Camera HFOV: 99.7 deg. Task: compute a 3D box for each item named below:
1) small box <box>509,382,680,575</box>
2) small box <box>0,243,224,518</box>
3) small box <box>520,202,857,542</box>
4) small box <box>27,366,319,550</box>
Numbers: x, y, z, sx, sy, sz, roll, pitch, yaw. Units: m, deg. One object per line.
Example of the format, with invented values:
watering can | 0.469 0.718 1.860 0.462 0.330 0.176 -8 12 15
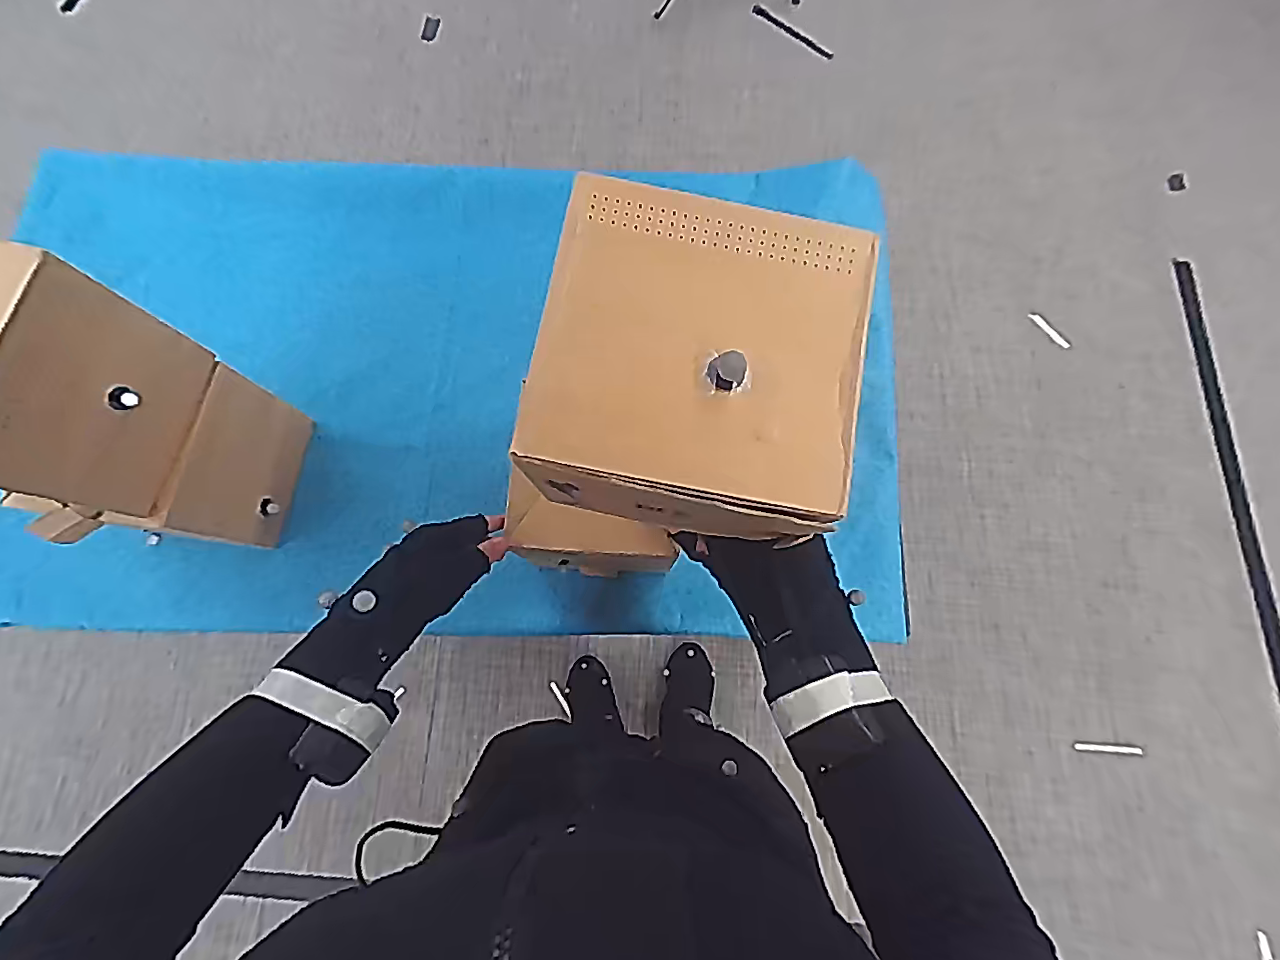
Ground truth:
small box | -0.043 0.008 0.603 0.168 0.176 0.179 2 74 -1
small box | -0.522 -0.079 0.461 0.168 0.176 0.179 11 77 3
small box | 0.030 -0.058 0.372 0.179 0.168 0.176 10 79 -2
small box | -0.514 -0.026 0.617 0.168 0.176 0.179 7 76 2
